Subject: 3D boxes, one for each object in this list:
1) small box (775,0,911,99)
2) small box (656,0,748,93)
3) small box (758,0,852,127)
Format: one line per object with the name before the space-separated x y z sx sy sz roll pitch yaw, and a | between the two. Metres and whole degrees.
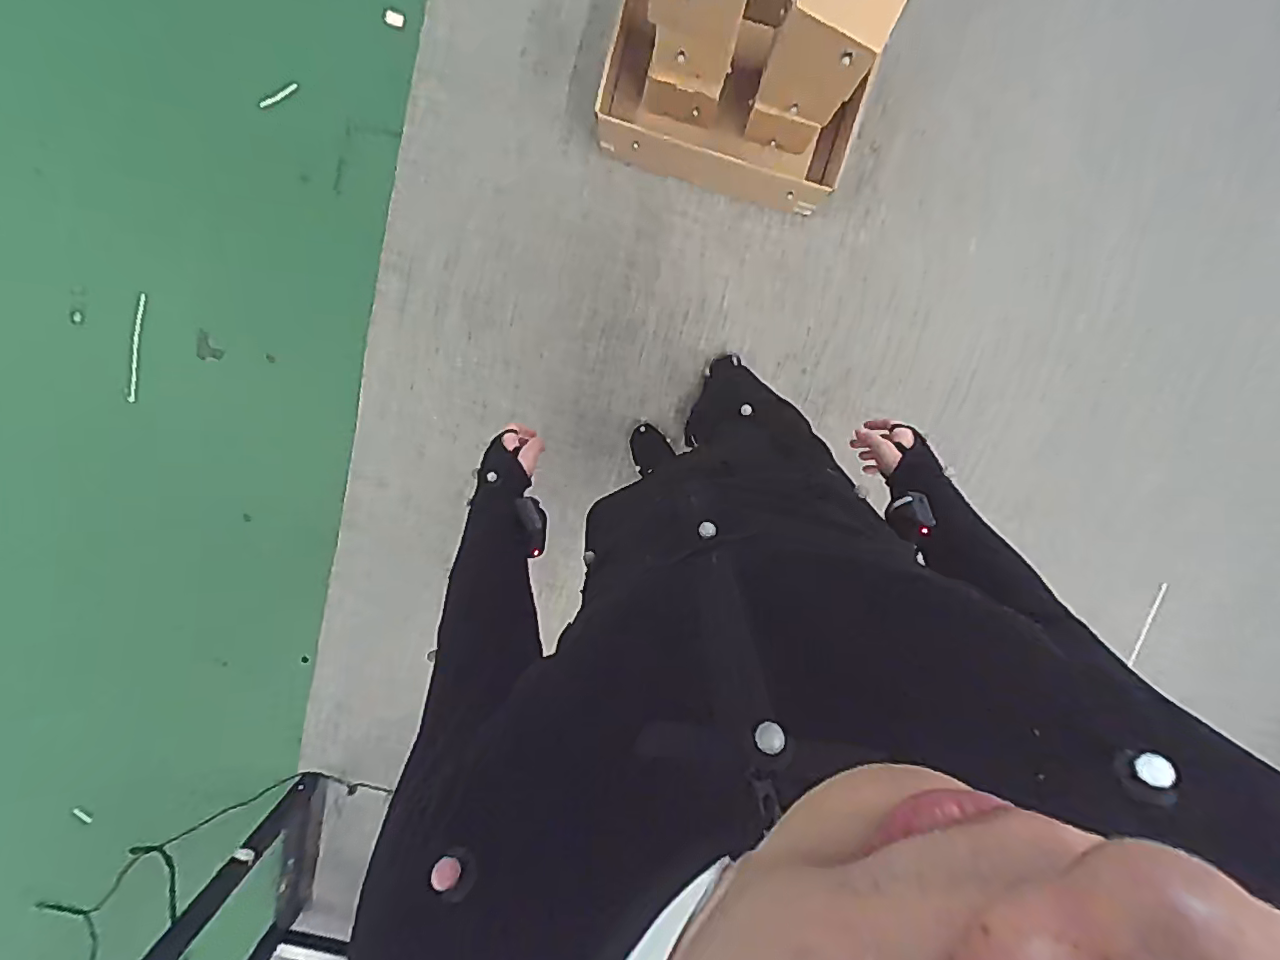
small box | 0.379 -0.855 1.004 0.179 0.176 0.168 26 99 -3
small box | 0.133 -0.979 1.159 0.168 0.176 0.179 13 99 -4
small box | 0.376 -0.899 1.165 0.179 0.176 0.168 19 100 -2
